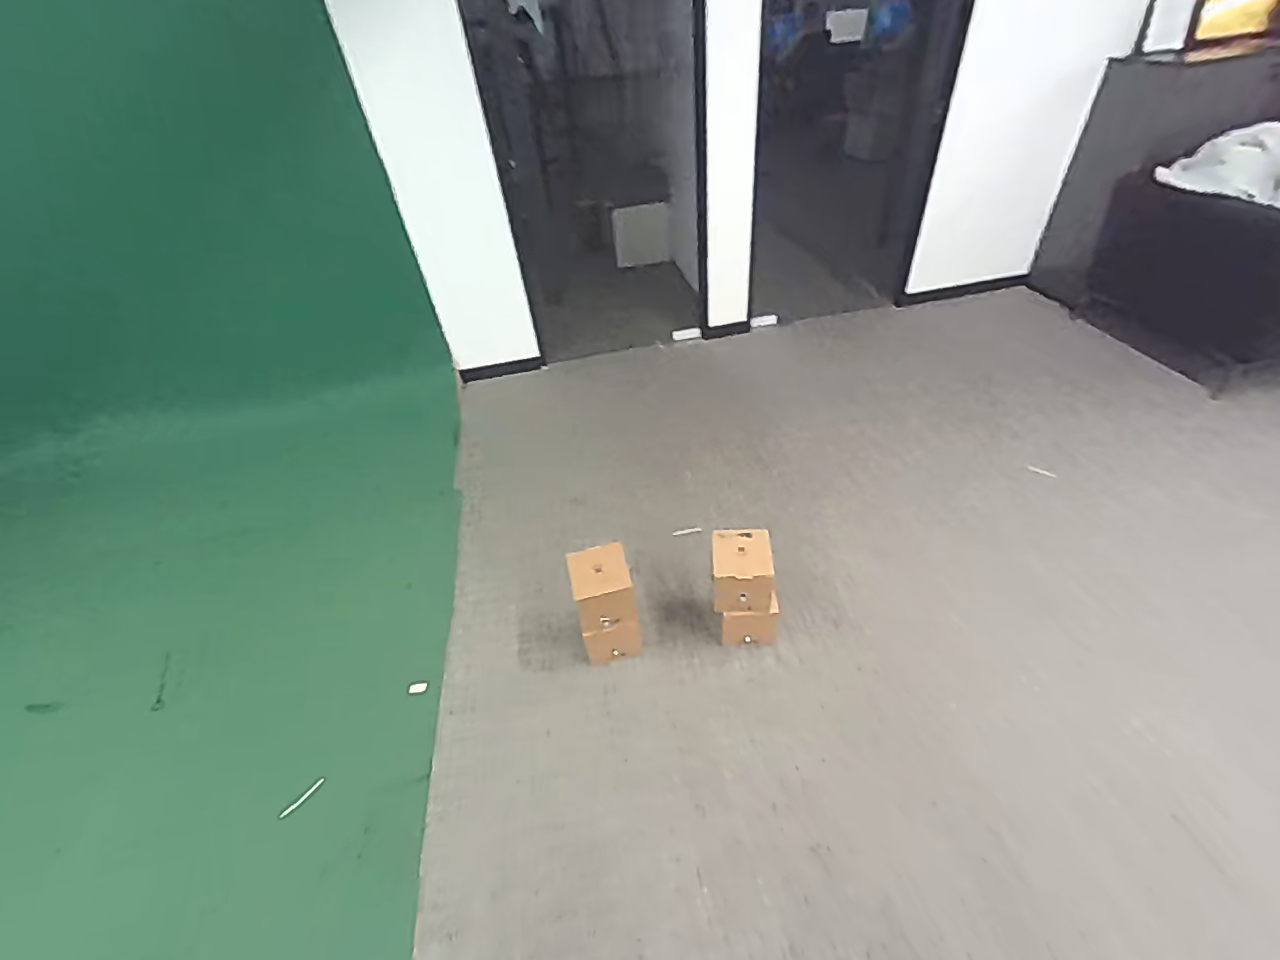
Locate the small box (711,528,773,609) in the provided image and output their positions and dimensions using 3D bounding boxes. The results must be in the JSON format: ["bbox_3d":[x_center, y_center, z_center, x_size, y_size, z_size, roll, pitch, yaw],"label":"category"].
[{"bbox_3d":[0.292,0.261,1.573,0.168,0.176,0.179,-1,42,6],"label":"small box"}]

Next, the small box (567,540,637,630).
[{"bbox_3d":[-0.109,0.306,1.573,0.168,0.176,0.179,-13,42,-7],"label":"small box"}]

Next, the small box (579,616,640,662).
[{"bbox_3d":[-0.101,0.431,1.676,0.168,0.176,0.179,-13,42,-8],"label":"small box"}]

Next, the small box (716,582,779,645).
[{"bbox_3d":[0.325,0.388,1.673,0.168,0.176,0.179,-4,42,3],"label":"small box"}]
